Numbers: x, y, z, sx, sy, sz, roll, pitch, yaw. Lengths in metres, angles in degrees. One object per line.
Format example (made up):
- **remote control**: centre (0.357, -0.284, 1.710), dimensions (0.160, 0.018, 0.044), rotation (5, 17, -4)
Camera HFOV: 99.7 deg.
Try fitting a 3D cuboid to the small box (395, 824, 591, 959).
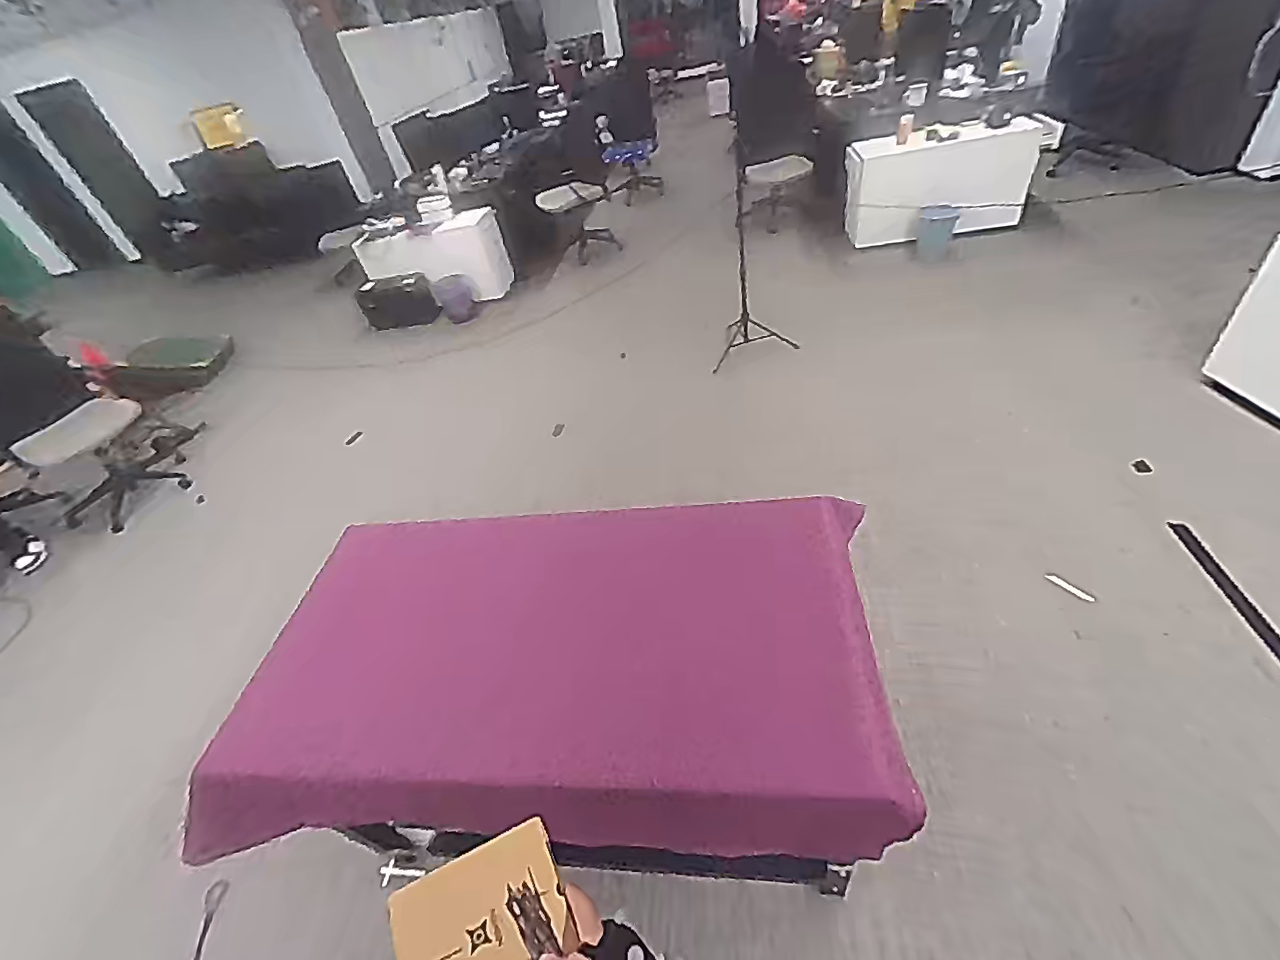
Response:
- **small box**: centre (-0.162, 0.546, 0.624), dimensions (0.179, 0.176, 0.168), rotation (-16, 44, -22)
